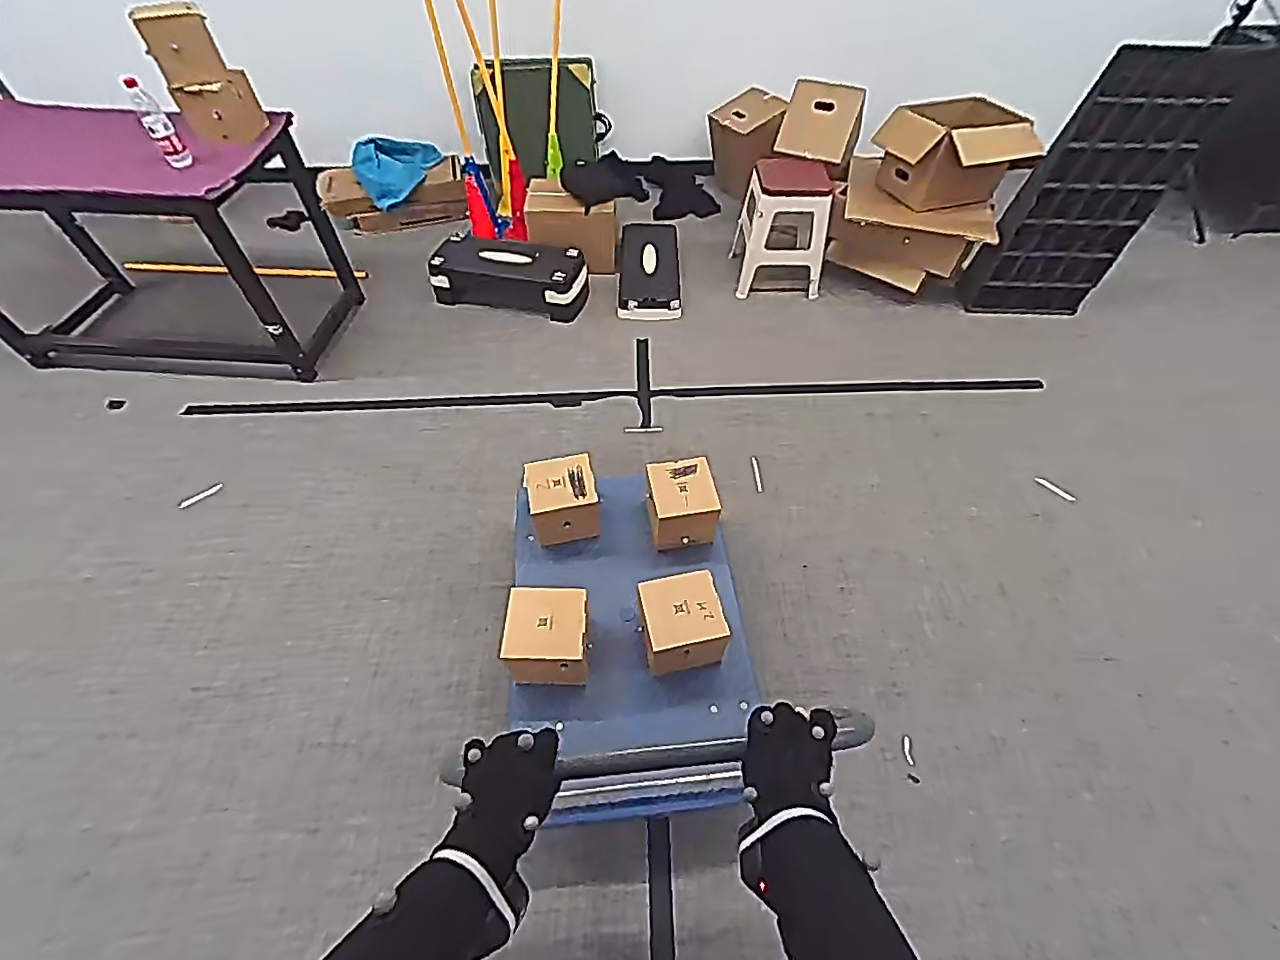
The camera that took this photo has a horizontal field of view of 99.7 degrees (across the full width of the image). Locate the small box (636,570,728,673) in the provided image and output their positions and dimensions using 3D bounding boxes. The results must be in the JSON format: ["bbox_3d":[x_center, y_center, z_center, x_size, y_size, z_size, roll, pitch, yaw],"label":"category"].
[{"bbox_3d":[0.092,0.334,1.262,0.179,0.176,0.168,-9,54,-7],"label":"small box"}]

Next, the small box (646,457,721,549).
[{"bbox_3d":[0.110,0.064,1.463,0.168,0.176,0.179,-8,55,-6],"label":"small box"}]

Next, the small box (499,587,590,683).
[{"bbox_3d":[-0.211,0.359,1.242,0.179,0.176,0.168,2,53,-1],"label":"small box"}]
